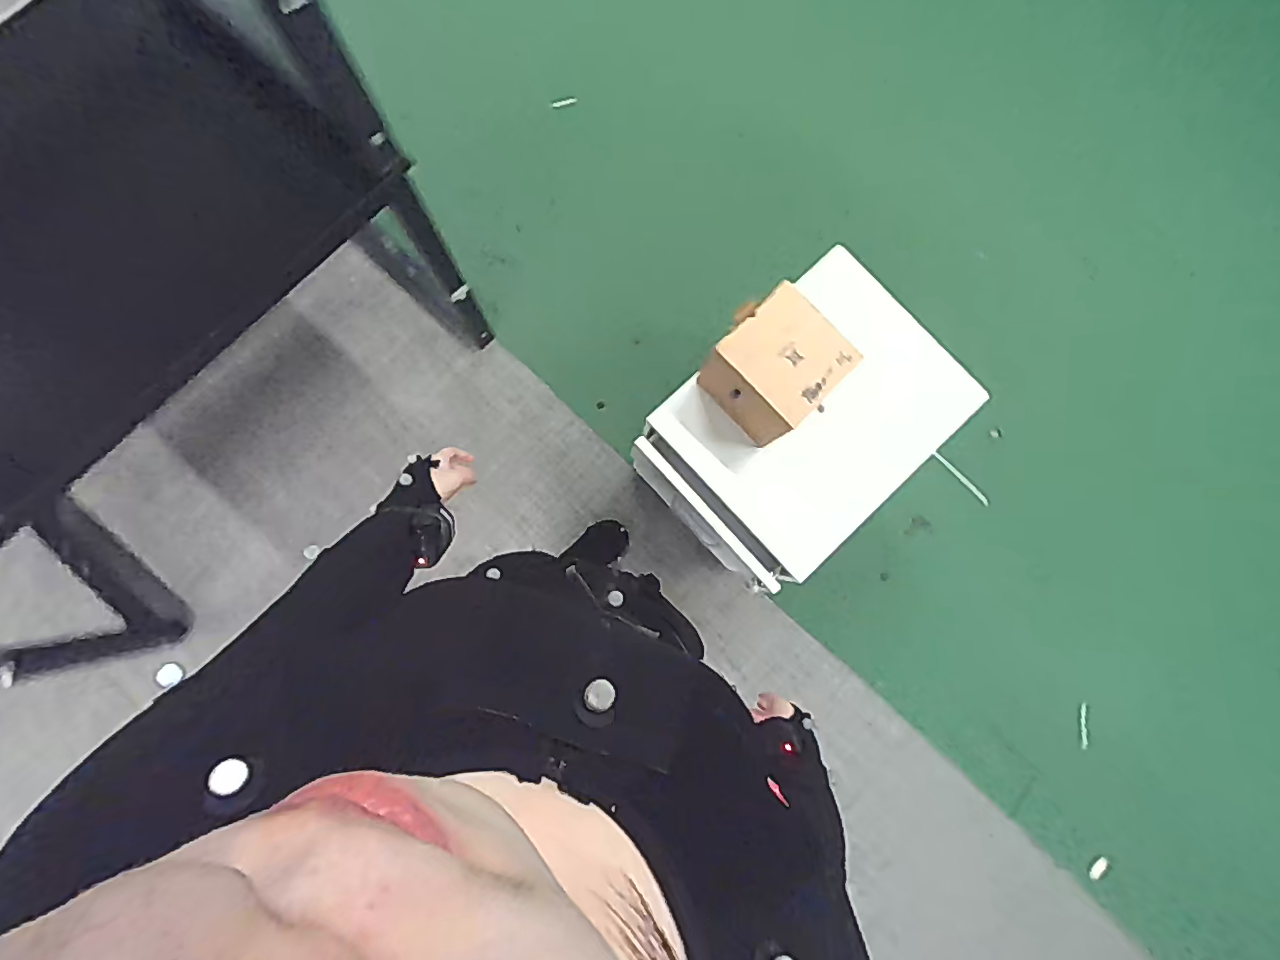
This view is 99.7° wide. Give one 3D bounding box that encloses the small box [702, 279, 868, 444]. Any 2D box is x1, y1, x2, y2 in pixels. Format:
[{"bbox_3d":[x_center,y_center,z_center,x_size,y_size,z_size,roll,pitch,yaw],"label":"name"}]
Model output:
[{"bbox_3d":[0.223,-0.181,0.885,0.168,0.176,0.179,-43,88,-8],"label":"small box"}]
